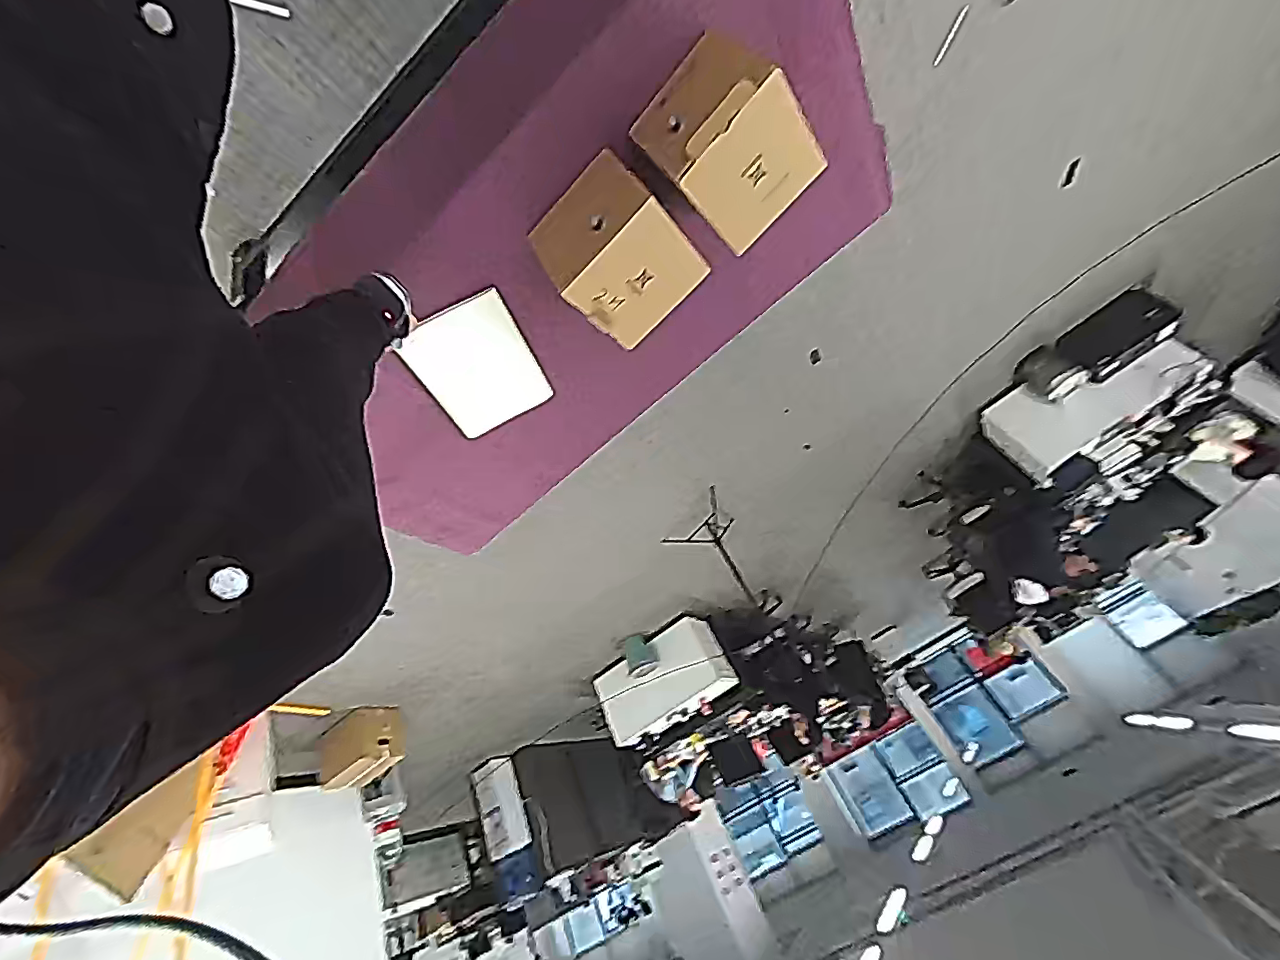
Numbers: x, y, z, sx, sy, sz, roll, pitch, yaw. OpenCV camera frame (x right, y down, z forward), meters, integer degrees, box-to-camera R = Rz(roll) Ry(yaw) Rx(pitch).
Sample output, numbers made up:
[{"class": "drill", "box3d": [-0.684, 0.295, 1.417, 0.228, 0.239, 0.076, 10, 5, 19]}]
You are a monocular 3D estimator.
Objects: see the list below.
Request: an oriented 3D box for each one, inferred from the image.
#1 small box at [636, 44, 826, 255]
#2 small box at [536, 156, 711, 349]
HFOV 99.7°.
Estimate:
[{"class": "small box", "box3d": [0.123, -0.468, 0.766, 0.168, 0.176, 0.179, -42, 144, 21]}, {"class": "small box", "box3d": [-0.031, -0.342, 0.817, 0.179, 0.176, 0.168, -40, 144, 17]}]
